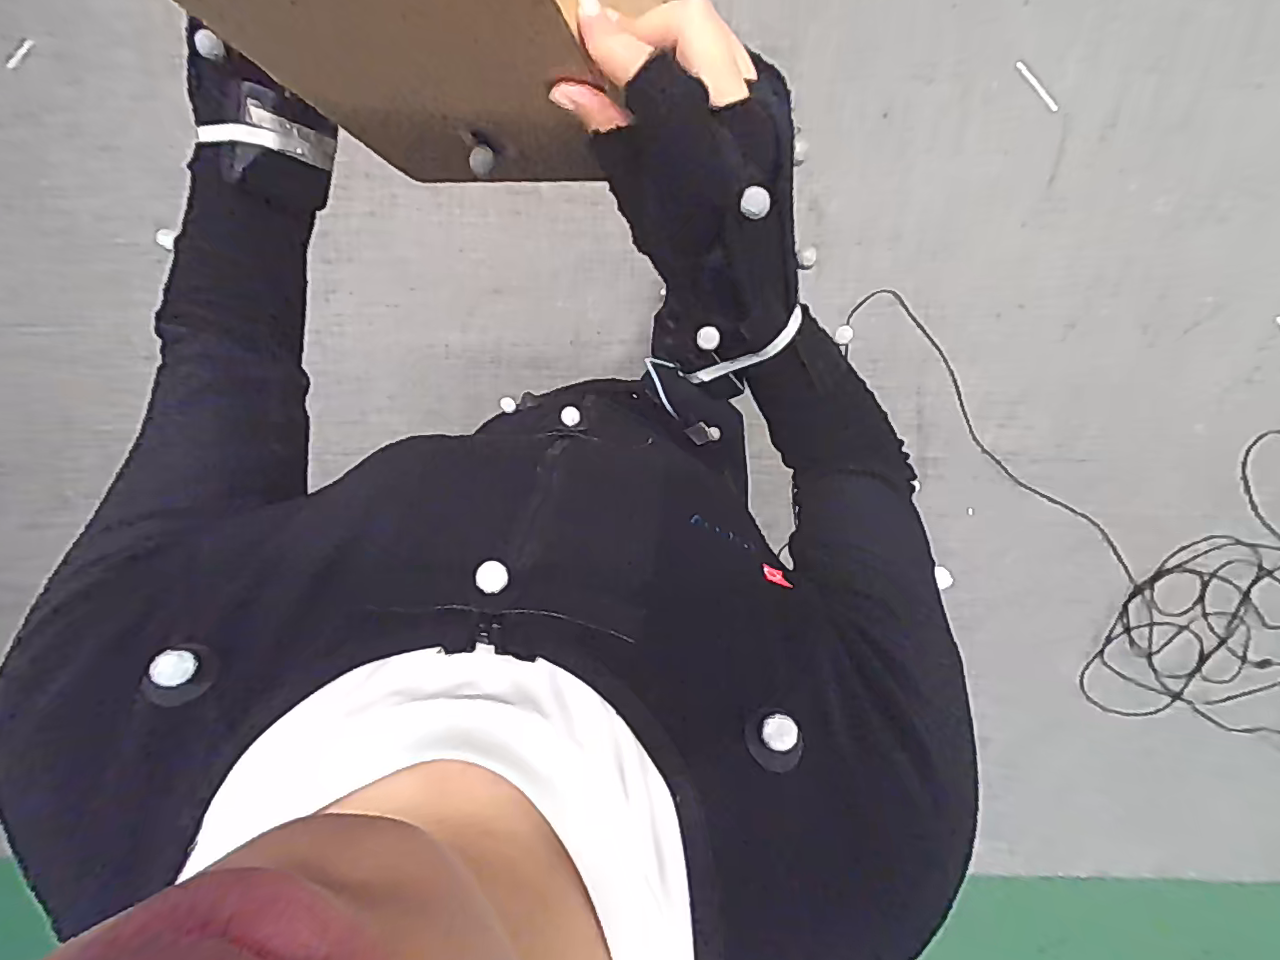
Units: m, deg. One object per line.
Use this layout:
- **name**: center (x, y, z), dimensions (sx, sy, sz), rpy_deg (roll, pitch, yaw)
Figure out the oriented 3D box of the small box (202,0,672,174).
- **small box**: center (-0.083, -0.278, 0.268), dimensions (0.179, 0.176, 0.168), rpy_deg (10, 92, 18)
